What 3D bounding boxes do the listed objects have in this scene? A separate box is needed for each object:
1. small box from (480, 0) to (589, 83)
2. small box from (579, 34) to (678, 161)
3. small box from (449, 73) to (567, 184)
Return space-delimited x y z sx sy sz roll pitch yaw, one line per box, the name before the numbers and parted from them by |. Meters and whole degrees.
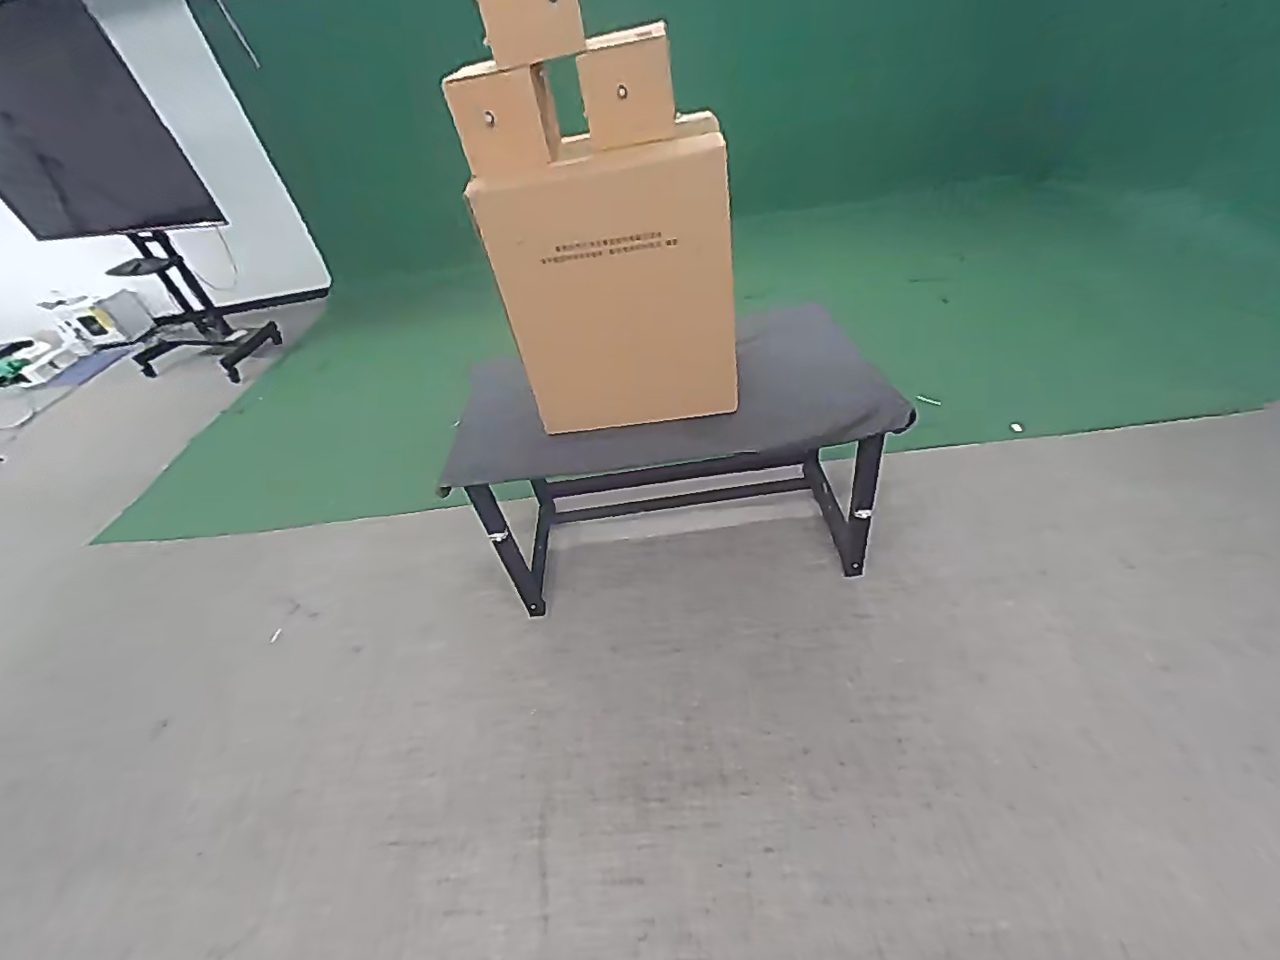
small box | -0.198 -0.876 1.020 0.179 0.176 0.168 -14 43 1
small box | -0.015 -0.792 1.123 0.179 0.176 0.168 -6 45 9
small box | -0.268 -0.746 1.141 0.179 0.176 0.168 -5 45 8
